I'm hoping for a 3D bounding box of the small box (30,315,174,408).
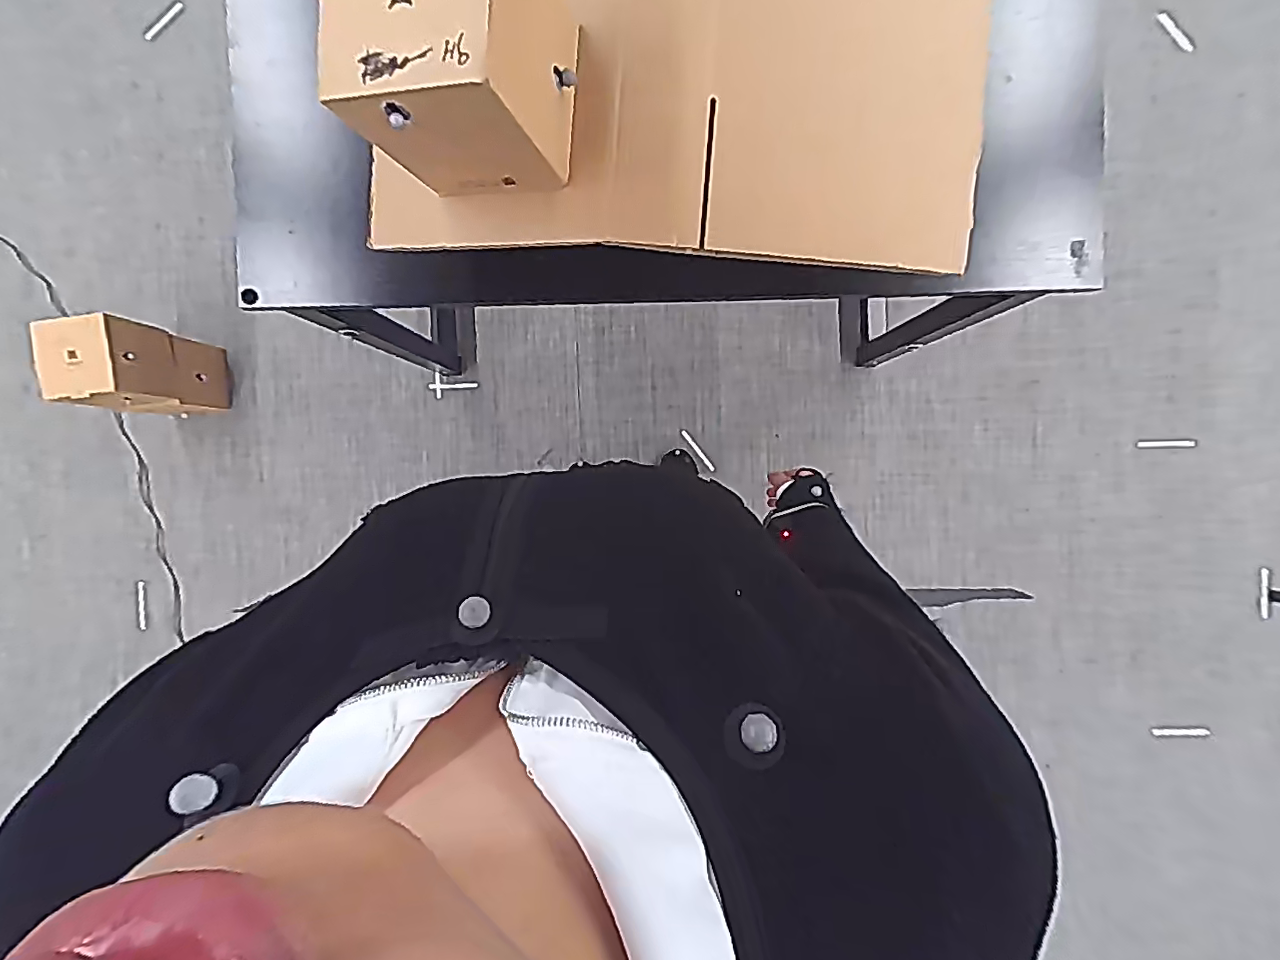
[{"bbox_3d":[-1.234,-0.266,1.255,0.168,0.176,0.179,-8,91,0],"label":"small box"}]

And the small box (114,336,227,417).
[{"bbox_3d":[-1.231,-0.266,1.418,0.168,0.176,0.179,-5,92,1],"label":"small box"}]

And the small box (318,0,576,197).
[{"bbox_3d":[-0.169,-0.402,0.518,0.168,0.176,0.179,5,92,15],"label":"small box"}]
